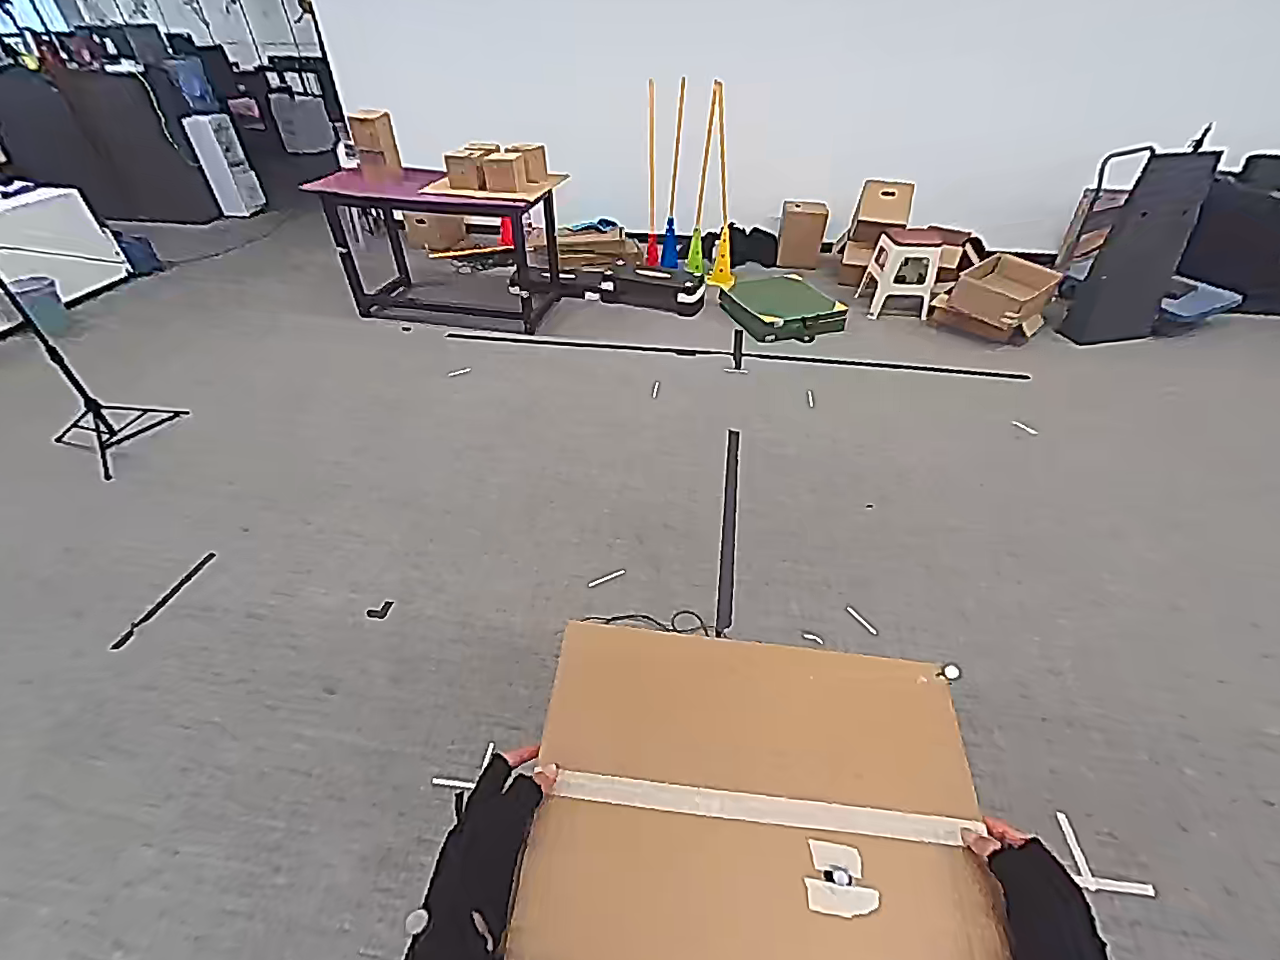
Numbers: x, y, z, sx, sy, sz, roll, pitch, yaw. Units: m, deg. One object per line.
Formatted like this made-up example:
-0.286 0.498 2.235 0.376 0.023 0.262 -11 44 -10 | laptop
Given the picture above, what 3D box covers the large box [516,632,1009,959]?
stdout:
0.104 0.398 0.613 0.408 0.320 0.320 6 51 3 | large box
